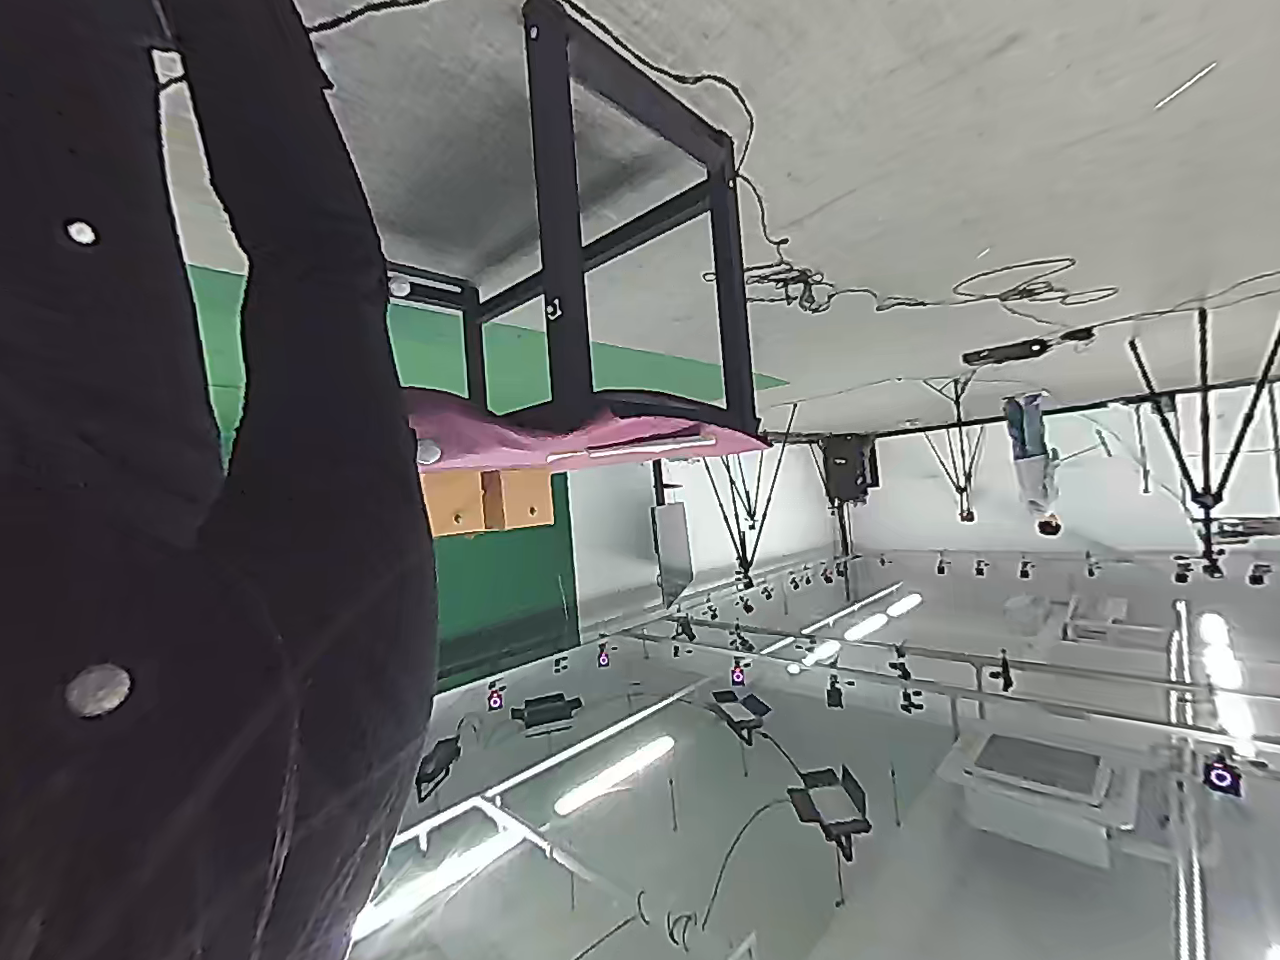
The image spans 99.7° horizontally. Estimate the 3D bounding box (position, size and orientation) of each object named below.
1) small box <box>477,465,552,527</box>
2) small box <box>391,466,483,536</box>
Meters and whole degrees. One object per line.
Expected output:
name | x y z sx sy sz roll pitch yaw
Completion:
small box | -0.382 0.046 1.597 0.168 0.176 0.179 -6 178 41
small box | -0.545 0.055 1.443 0.168 0.176 0.179 -6 178 39
